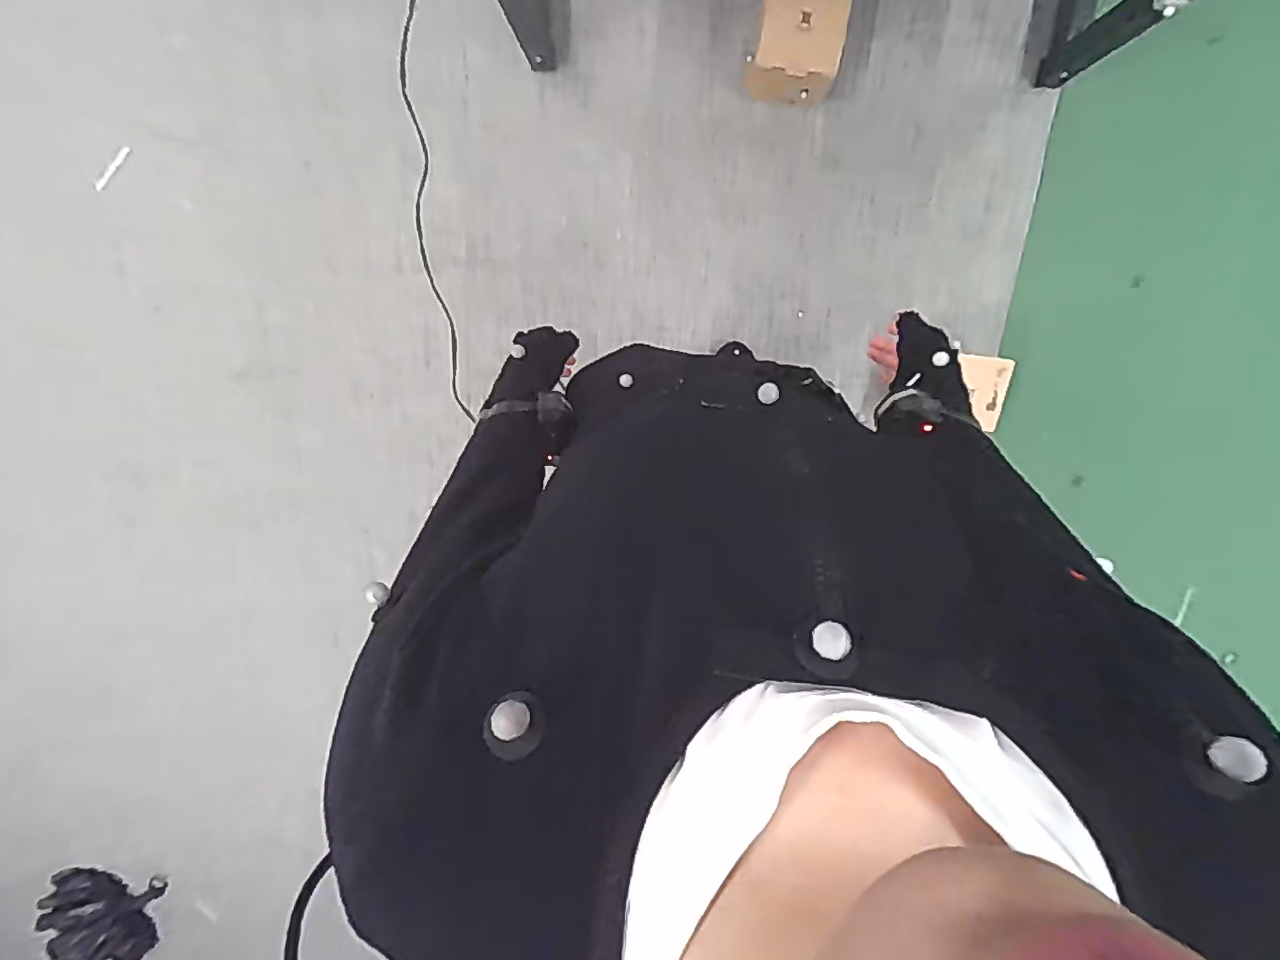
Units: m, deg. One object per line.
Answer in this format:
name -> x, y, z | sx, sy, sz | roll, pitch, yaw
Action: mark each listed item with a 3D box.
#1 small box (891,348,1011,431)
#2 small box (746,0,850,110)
small box -> 0.736, -0.223, 1.305 | 0.179, 0.176, 0.168 | 9, 105, 1
small box -> 0.326, -0.917, 1.140 | 0.168, 0.176, 0.179 | 8, 104, 0
